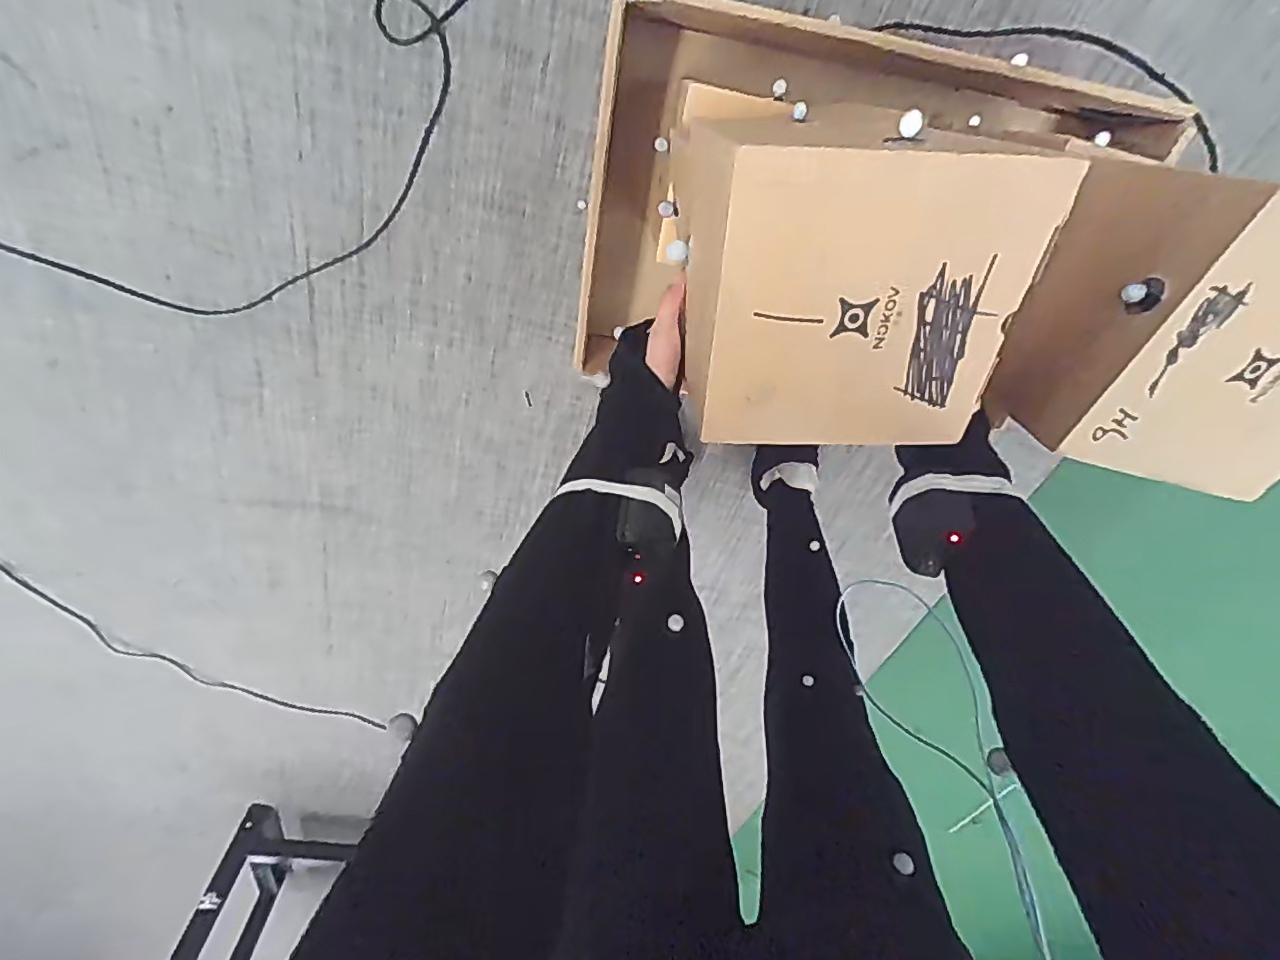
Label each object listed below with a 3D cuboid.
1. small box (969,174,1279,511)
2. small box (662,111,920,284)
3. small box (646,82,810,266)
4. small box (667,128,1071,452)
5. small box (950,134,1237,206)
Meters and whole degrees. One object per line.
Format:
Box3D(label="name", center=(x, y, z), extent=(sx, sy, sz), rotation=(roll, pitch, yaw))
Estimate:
Box3D(label="small box", center=(0.366, -0.104, 0.395), extent=(0.179, 0.176, 0.168), rotation=(12, 125, -11))
Box3D(label="small box", center=(0.118, -0.231, 0.500), extent=(0.179, 0.176, 0.168), rotation=(-6, 127, 1))
Box3D(label="small box", center=(0.106, -0.339, 0.621), extent=(0.179, 0.176, 0.168), rotation=(7, 127, -9))
Box3D(label="small box", center=(0.117, -0.133, 0.367), extent=(0.179, 0.176, 0.168), rotation=(1, 127, -3))
Box3D(label="small box", center=(0.367, -0.213, 0.520), extent=(0.168, 0.176, 0.179), rotation=(9, 126, -8))
